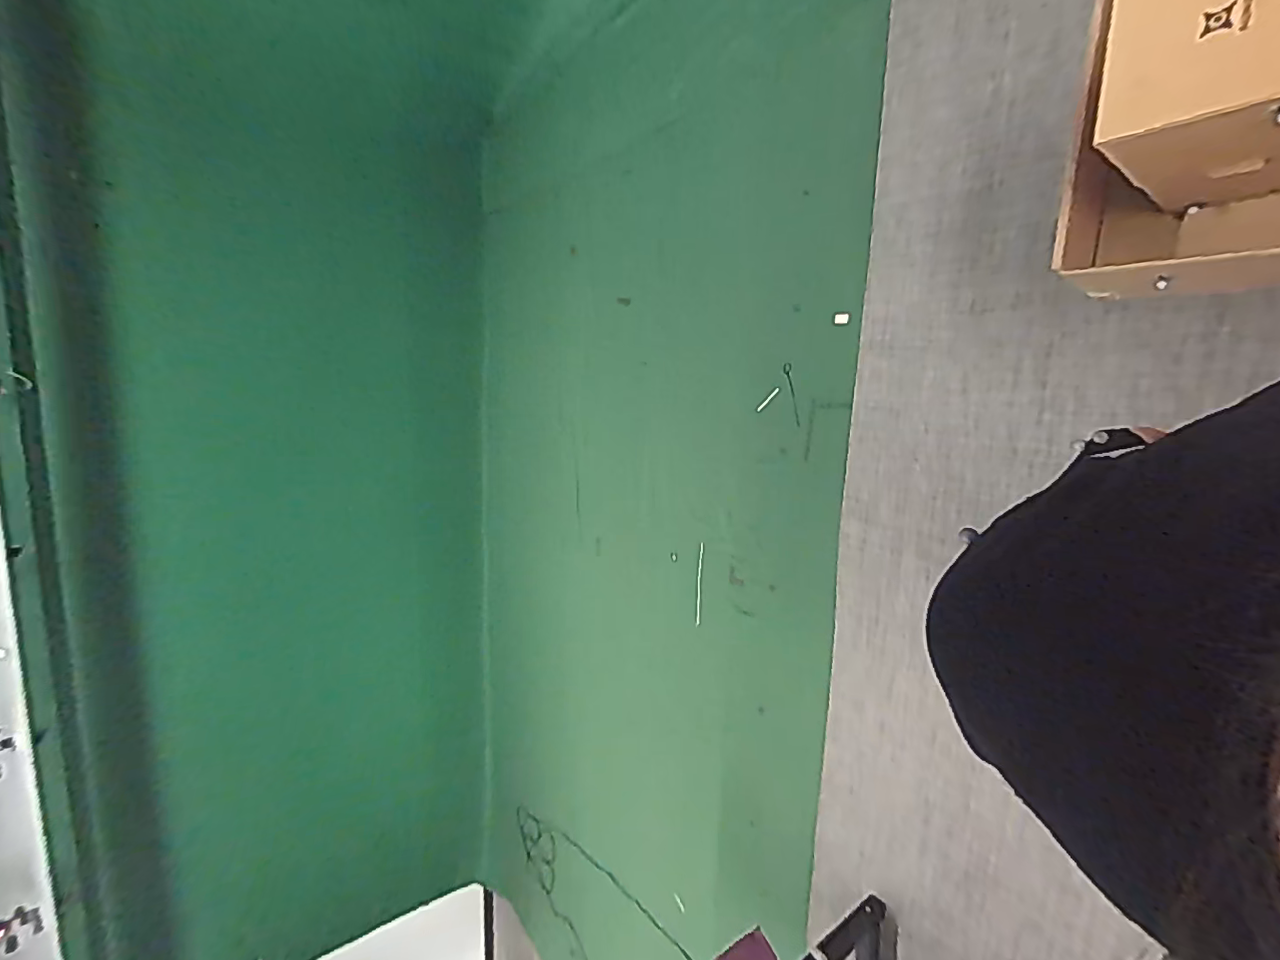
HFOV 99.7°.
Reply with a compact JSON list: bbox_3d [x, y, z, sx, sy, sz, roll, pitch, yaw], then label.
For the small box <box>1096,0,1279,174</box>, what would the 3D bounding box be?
[{"bbox_3d":[0.610,-0.439,0.549,0.179,0.176,0.168,13,104,52],"label":"small box"}]
